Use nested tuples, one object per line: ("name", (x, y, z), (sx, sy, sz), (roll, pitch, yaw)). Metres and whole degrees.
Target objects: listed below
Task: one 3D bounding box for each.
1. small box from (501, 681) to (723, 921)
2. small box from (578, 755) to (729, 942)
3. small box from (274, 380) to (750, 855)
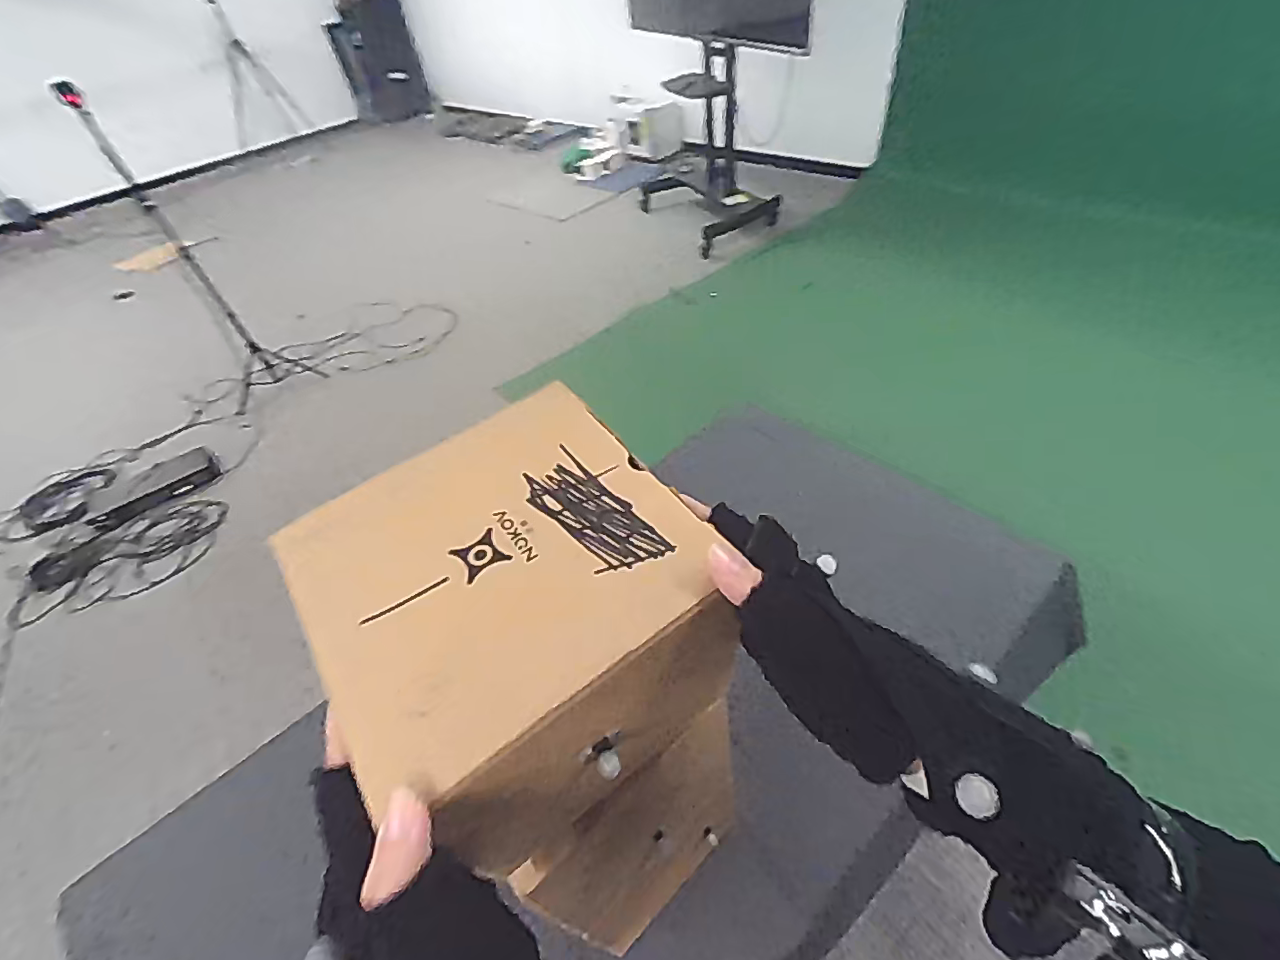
("small box", (-0.047, 0.219, 0.456), (0.179, 0.176, 0.168), (-39, 51, -24))
("small box", (-0.022, 0.332, 0.570), (0.179, 0.176, 0.168), (-38, 50, -23))
("small box", (-0.062, 0.080, 0.318), (0.179, 0.176, 0.168), (-32, 56, -19))
